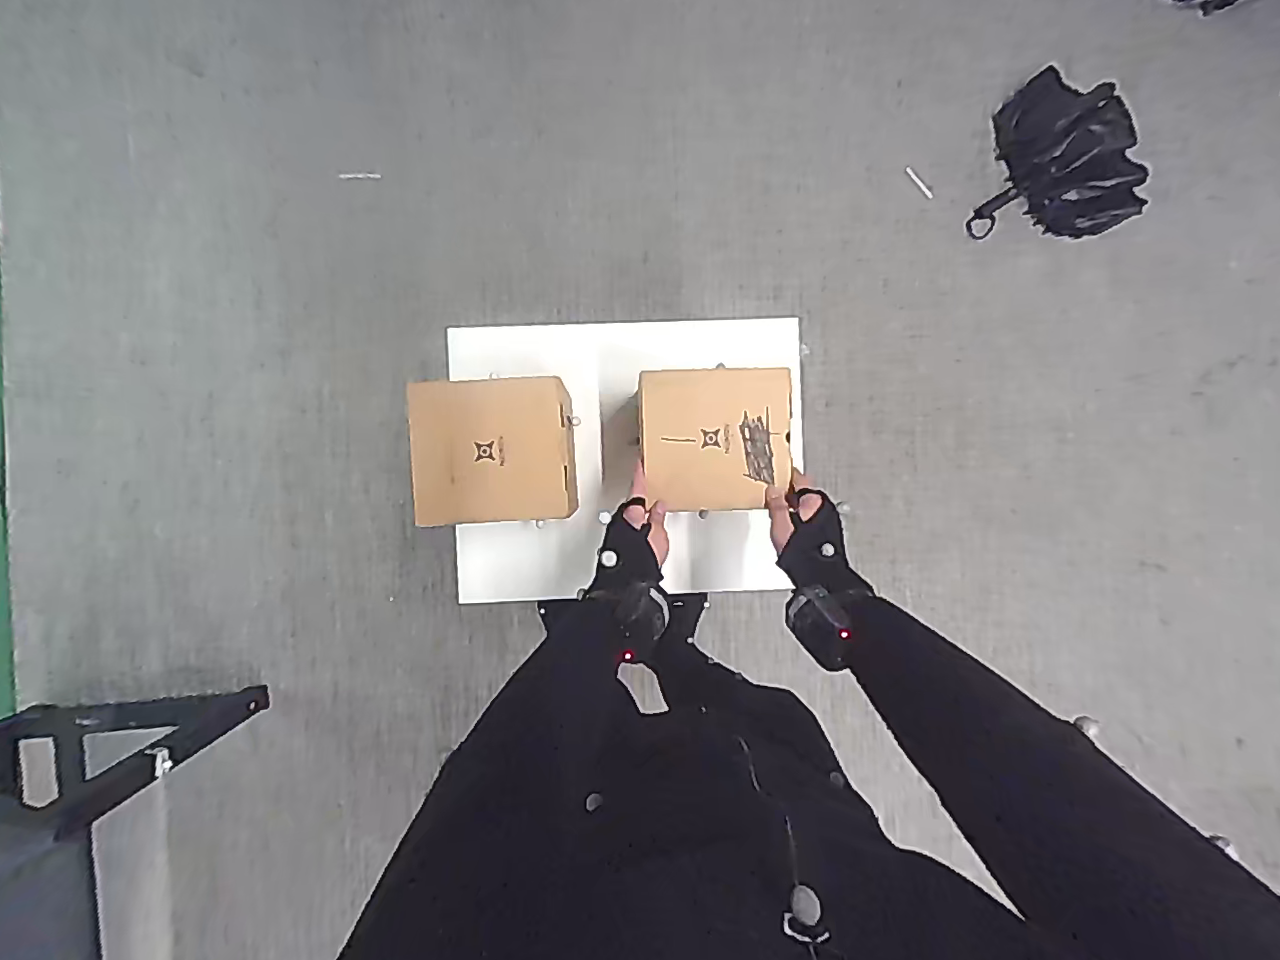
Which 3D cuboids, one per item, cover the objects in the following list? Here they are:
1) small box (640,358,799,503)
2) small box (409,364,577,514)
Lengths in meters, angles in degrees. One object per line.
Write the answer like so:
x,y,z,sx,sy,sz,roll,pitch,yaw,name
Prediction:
0.091,-0.057,0.692,0.179,0.176,0.168,0,90,-2,small box
-0.170,-0.047,0.680,0.179,0.176,0.168,-3,89,-3,small box
